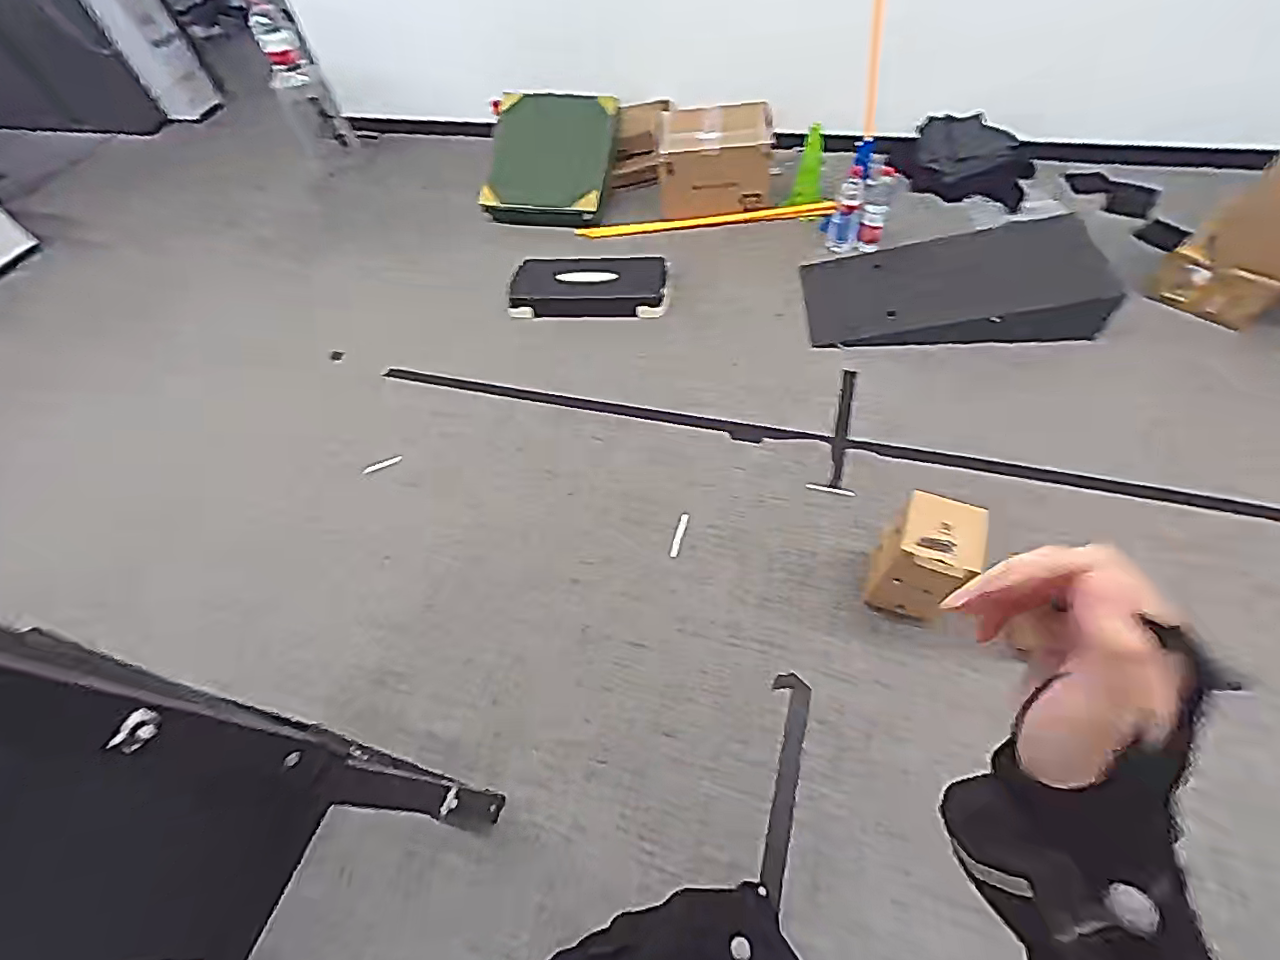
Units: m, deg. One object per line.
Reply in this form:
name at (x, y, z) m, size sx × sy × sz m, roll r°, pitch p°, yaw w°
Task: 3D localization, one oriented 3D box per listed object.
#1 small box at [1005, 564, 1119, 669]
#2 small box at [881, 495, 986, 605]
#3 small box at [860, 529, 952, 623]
small box at (1.026, 0.338, 1.331) m, size 0.168 × 0.176 × 0.179 m, roll 14°, pitch 58°, yaw 15°
small box at (0.687, 0.171, 1.280) m, size 0.168 × 0.176 × 0.179 m, roll 18°, pitch 59°, yaw 17°
small box at (0.699, 0.258, 1.420) m, size 0.179 × 0.176 × 0.168 m, roll 14°, pitch 58°, yaw 14°
